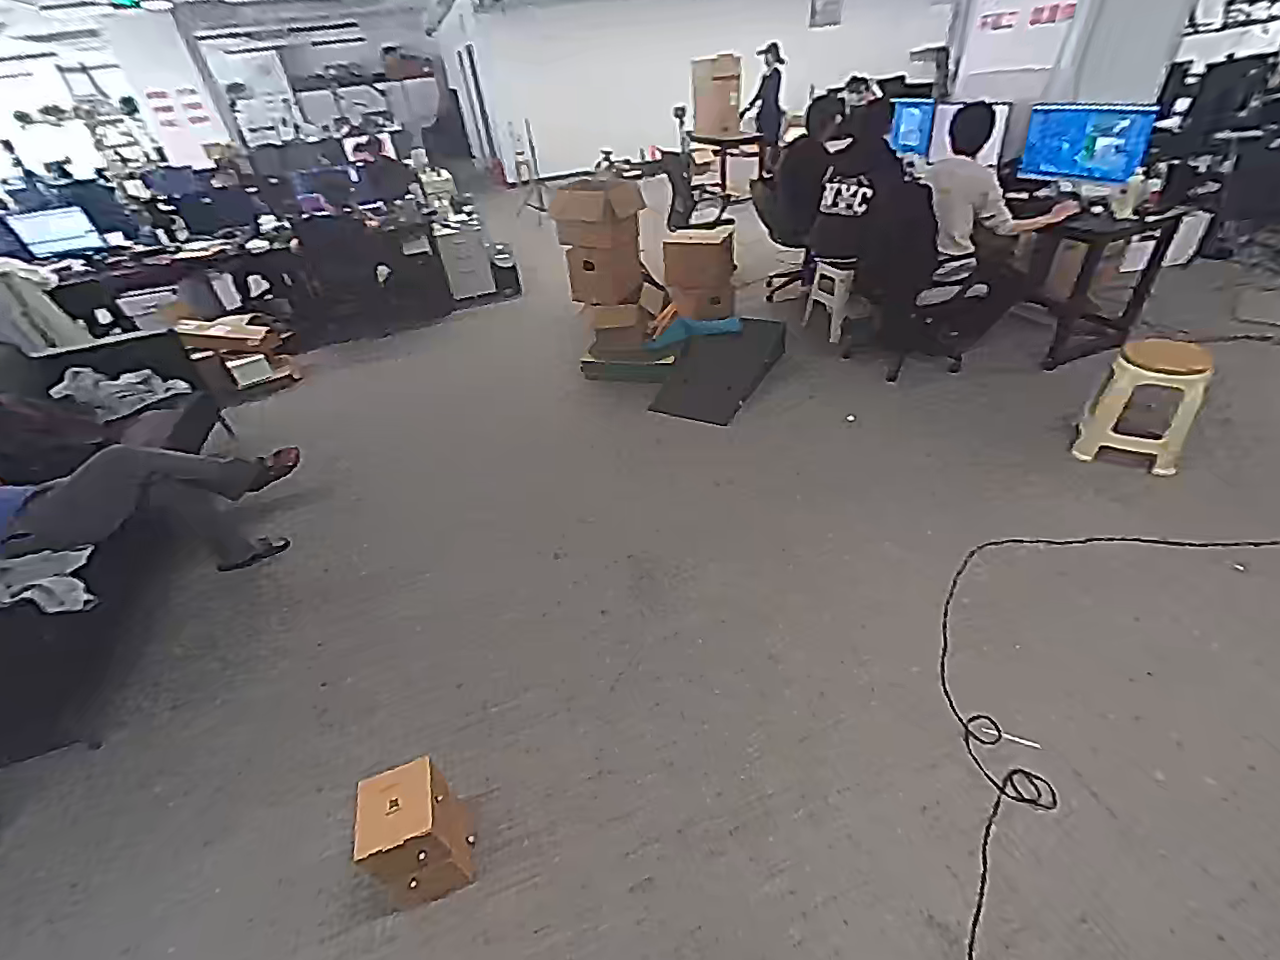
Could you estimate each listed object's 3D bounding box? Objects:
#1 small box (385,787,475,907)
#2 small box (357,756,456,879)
[{"bbox_3d":[-0.525,0.930,1.371,0.168,0.176,0.179,-15,37,-10],"label":"small box"},{"bbox_3d":[-0.543,0.801,1.275,0.168,0.176,0.179,-16,36,-13],"label":"small box"}]
